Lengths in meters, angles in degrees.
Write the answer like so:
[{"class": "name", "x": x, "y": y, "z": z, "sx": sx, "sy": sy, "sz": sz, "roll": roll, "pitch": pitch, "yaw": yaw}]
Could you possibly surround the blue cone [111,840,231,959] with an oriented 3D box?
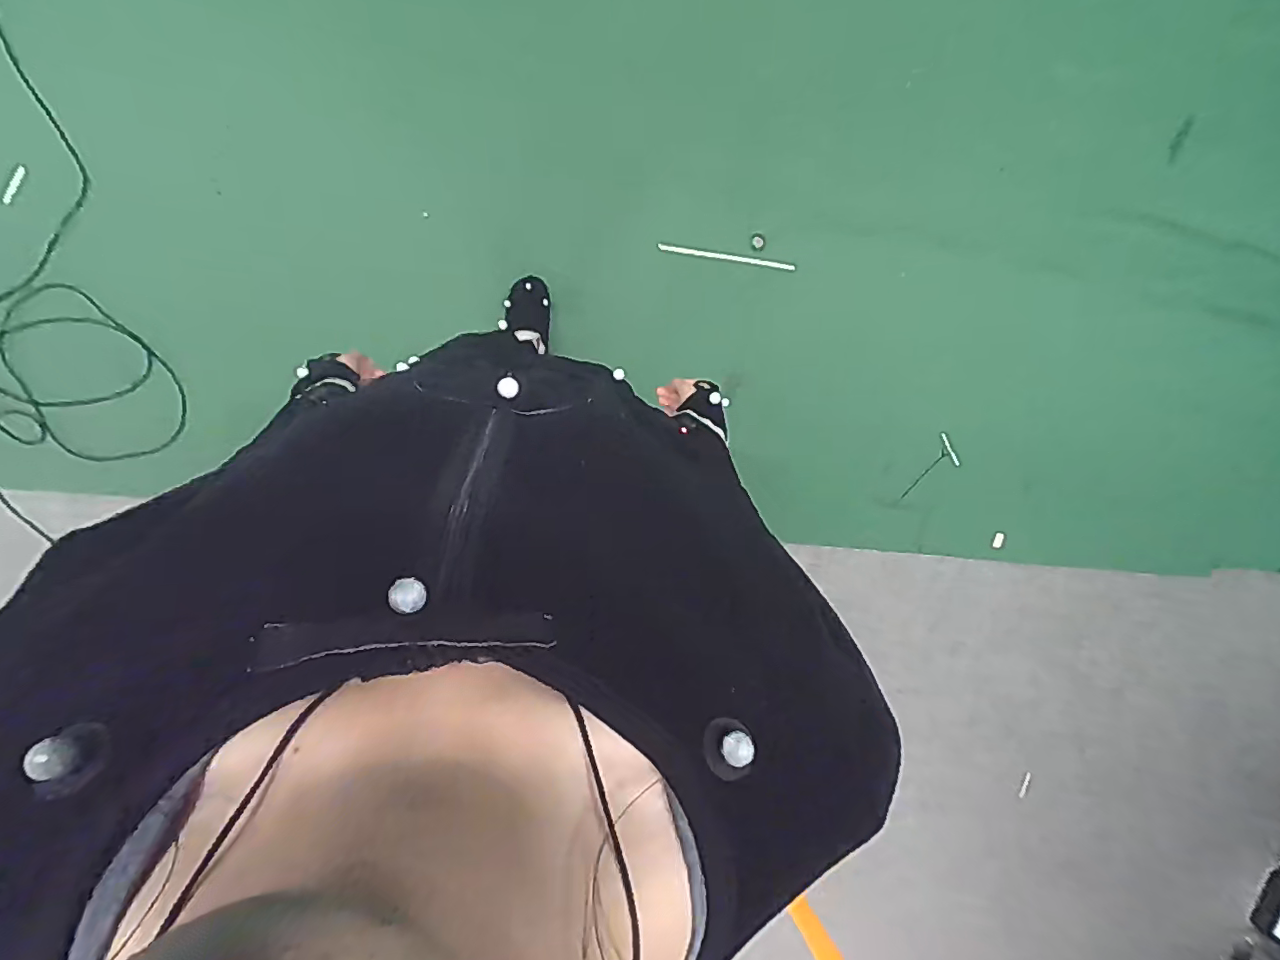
[{"class": "blue cone", "x": -1.303, "y": 1.198, "z": 1.426, "sx": 0.193, "sy": 0.380, "sz": 0.192, "roll": -37, "pitch": 108, "yaw": 3}]
